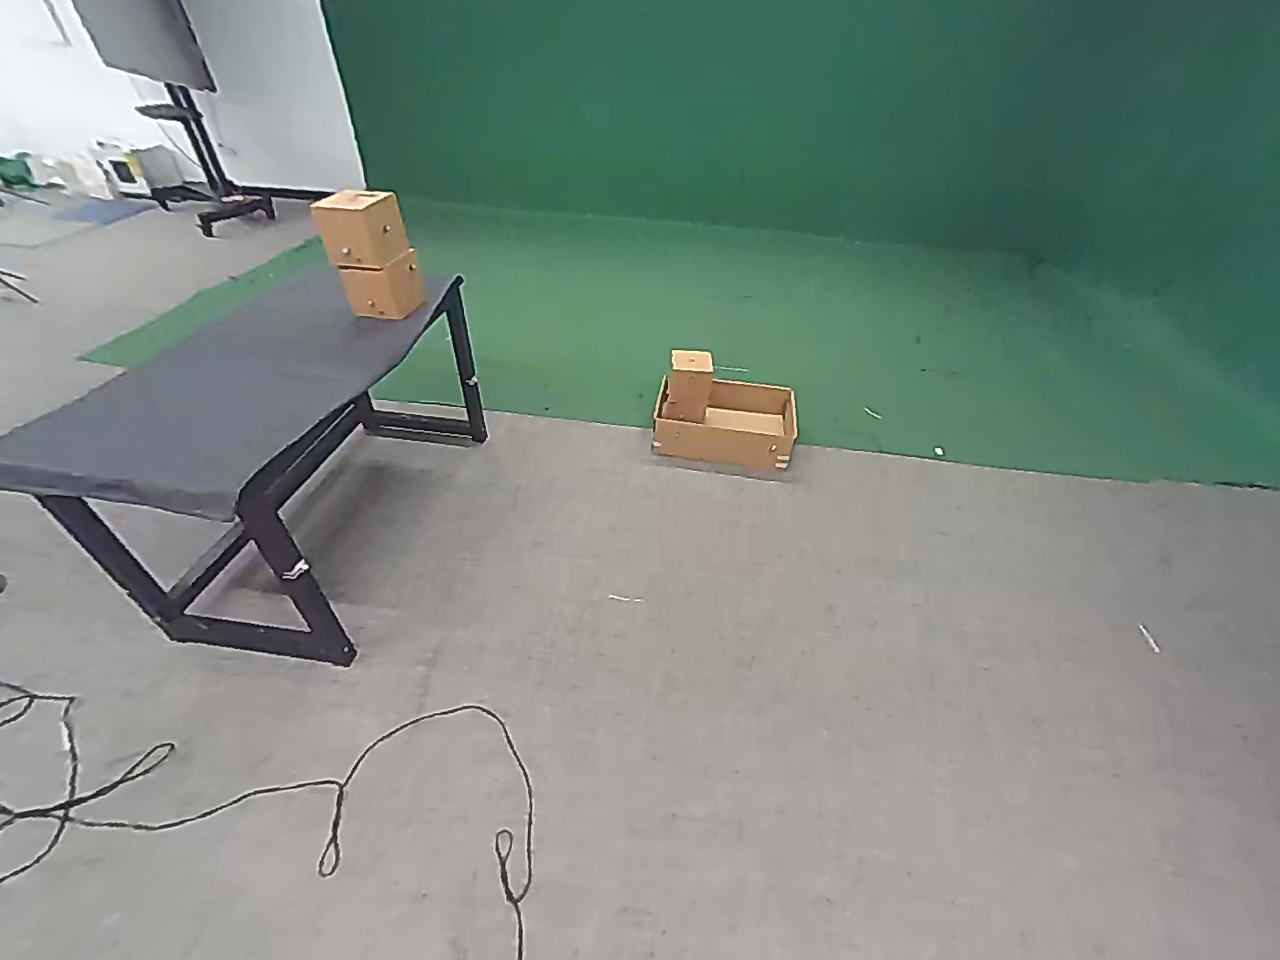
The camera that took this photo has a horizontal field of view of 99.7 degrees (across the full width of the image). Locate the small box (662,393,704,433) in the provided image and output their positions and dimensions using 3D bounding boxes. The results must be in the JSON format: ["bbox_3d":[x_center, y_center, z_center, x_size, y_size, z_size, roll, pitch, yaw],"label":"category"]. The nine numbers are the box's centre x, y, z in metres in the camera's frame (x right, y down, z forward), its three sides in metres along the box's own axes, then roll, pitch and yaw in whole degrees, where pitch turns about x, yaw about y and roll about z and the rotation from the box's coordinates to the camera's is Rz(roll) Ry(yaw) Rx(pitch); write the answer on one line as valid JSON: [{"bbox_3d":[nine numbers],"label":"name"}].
[{"bbox_3d":[0.198,-0.336,2.487,0.179,0.176,0.168,9,43,6],"label":"small box"}]

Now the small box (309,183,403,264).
[{"bbox_3d":[-0.832,-0.765,1.610,0.168,0.176,0.179,8,43,8],"label":"small box"}]

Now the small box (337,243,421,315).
[{"bbox_3d":[-0.823,-0.650,1.728,0.168,0.176,0.179,9,43,9],"label":"small box"}]

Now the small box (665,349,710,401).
[{"bbox_3d":[0.203,-0.459,2.378,0.179,0.176,0.168,4,43,-3],"label":"small box"}]
